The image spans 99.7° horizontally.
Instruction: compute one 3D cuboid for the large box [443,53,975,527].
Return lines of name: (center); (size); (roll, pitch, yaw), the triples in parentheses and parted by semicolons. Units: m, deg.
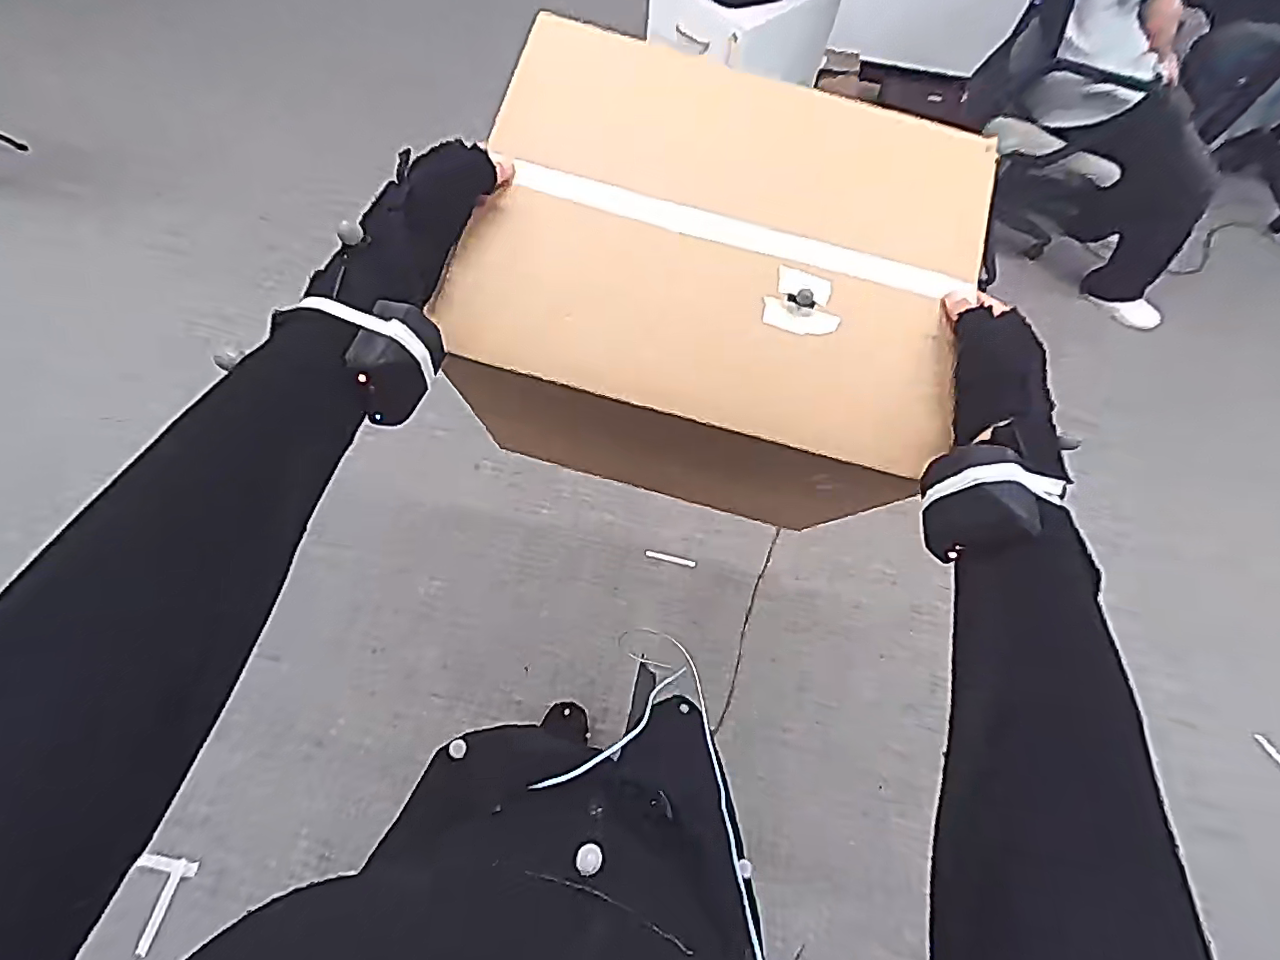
large box: (0.062, -0.158, 0.595); (0.408, 0.320, 0.320); (16, 79, -1)
